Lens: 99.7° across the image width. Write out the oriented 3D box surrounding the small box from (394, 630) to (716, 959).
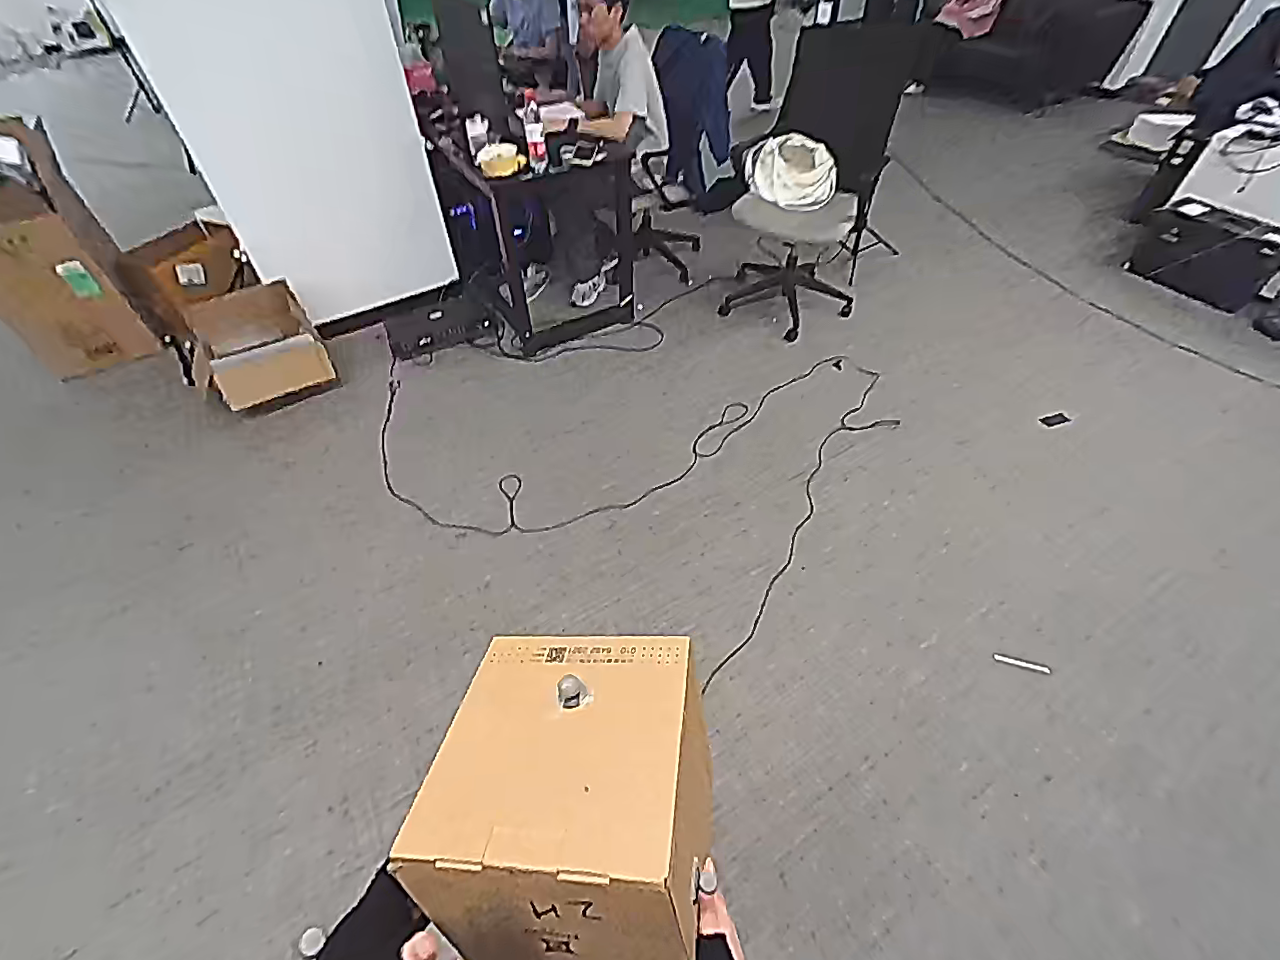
[{"bbox_3d":[-0.036,0.236,0.400,0.168,0.179,0.176,-3,32,13],"label":"small box"}]
